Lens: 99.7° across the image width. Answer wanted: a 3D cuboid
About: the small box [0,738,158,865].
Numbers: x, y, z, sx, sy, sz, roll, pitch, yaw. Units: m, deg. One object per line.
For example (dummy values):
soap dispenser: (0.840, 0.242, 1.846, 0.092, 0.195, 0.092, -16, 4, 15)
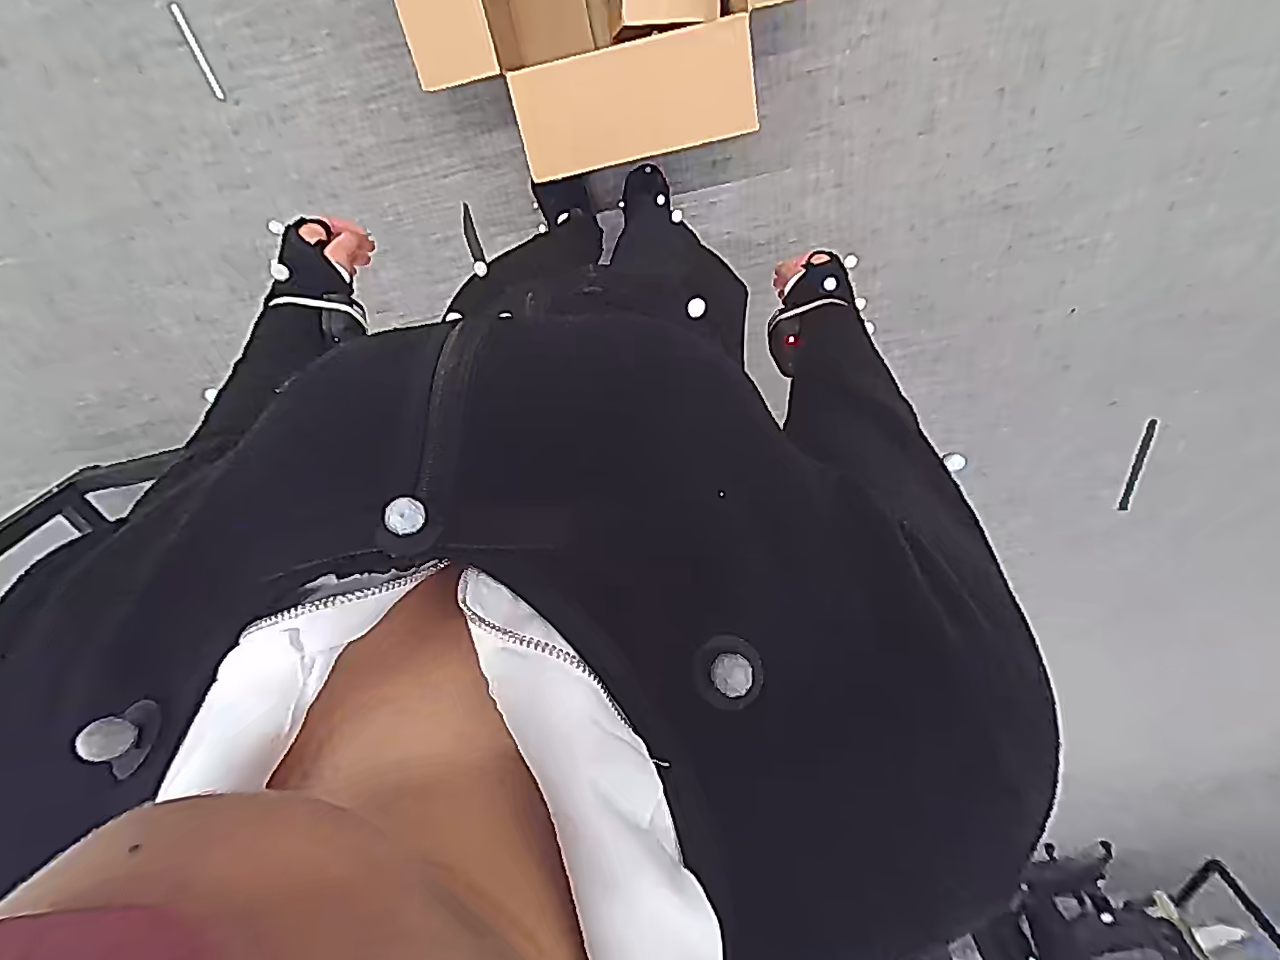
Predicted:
small box: (-1.160, 0.645, 1.098, 0.168, 0.176, 0.179, -11, 124, 6)
